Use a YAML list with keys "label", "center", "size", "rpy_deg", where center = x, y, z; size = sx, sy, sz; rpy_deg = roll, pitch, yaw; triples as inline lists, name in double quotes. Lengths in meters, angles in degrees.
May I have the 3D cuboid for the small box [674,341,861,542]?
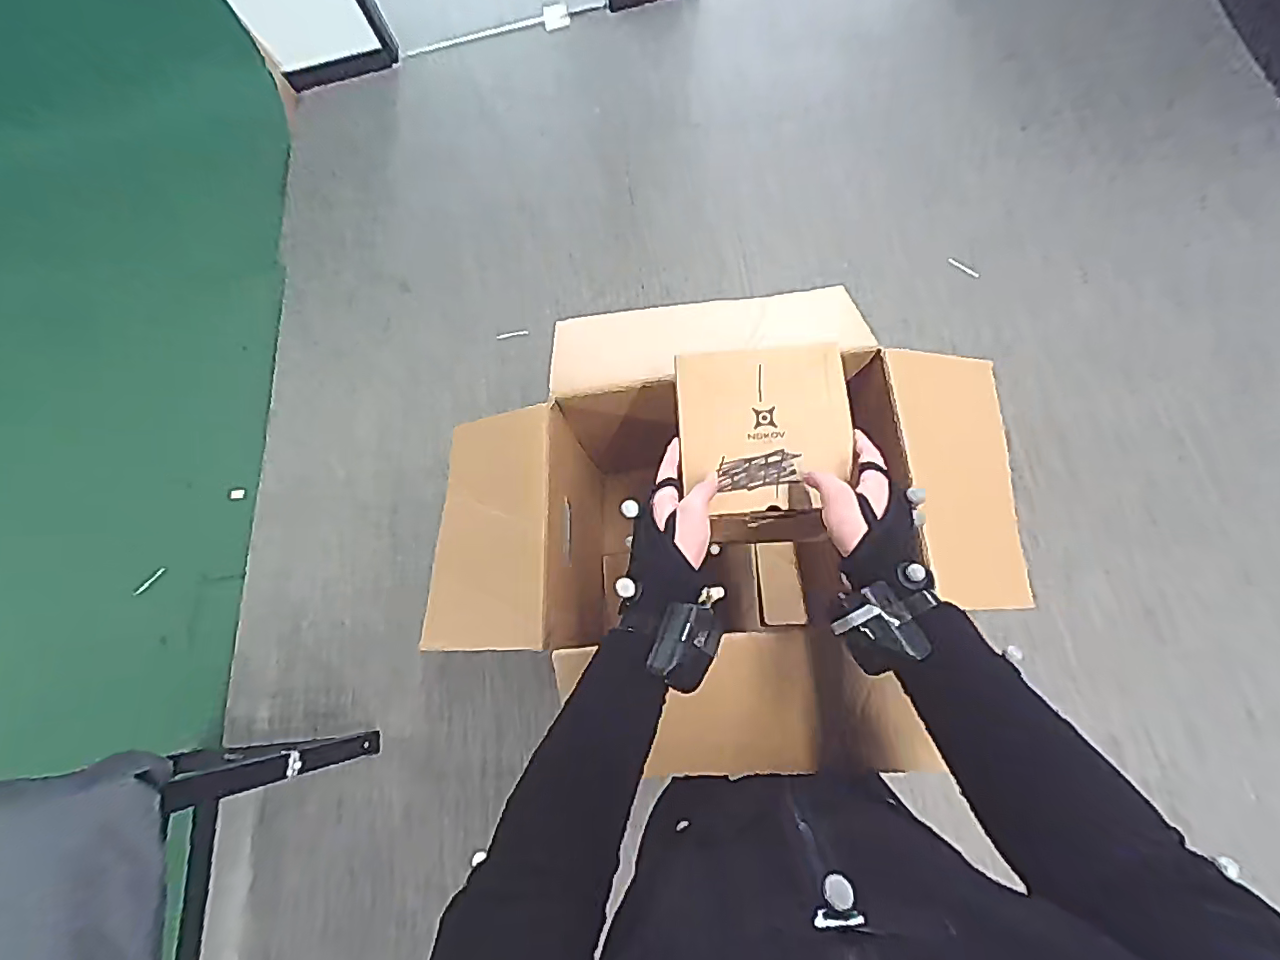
- label: "small box"
  center: [0.126, -0.029, 0.595]
  size: [0.168, 0.176, 0.179]
  rpy_deg: [-3, 72, 4]
